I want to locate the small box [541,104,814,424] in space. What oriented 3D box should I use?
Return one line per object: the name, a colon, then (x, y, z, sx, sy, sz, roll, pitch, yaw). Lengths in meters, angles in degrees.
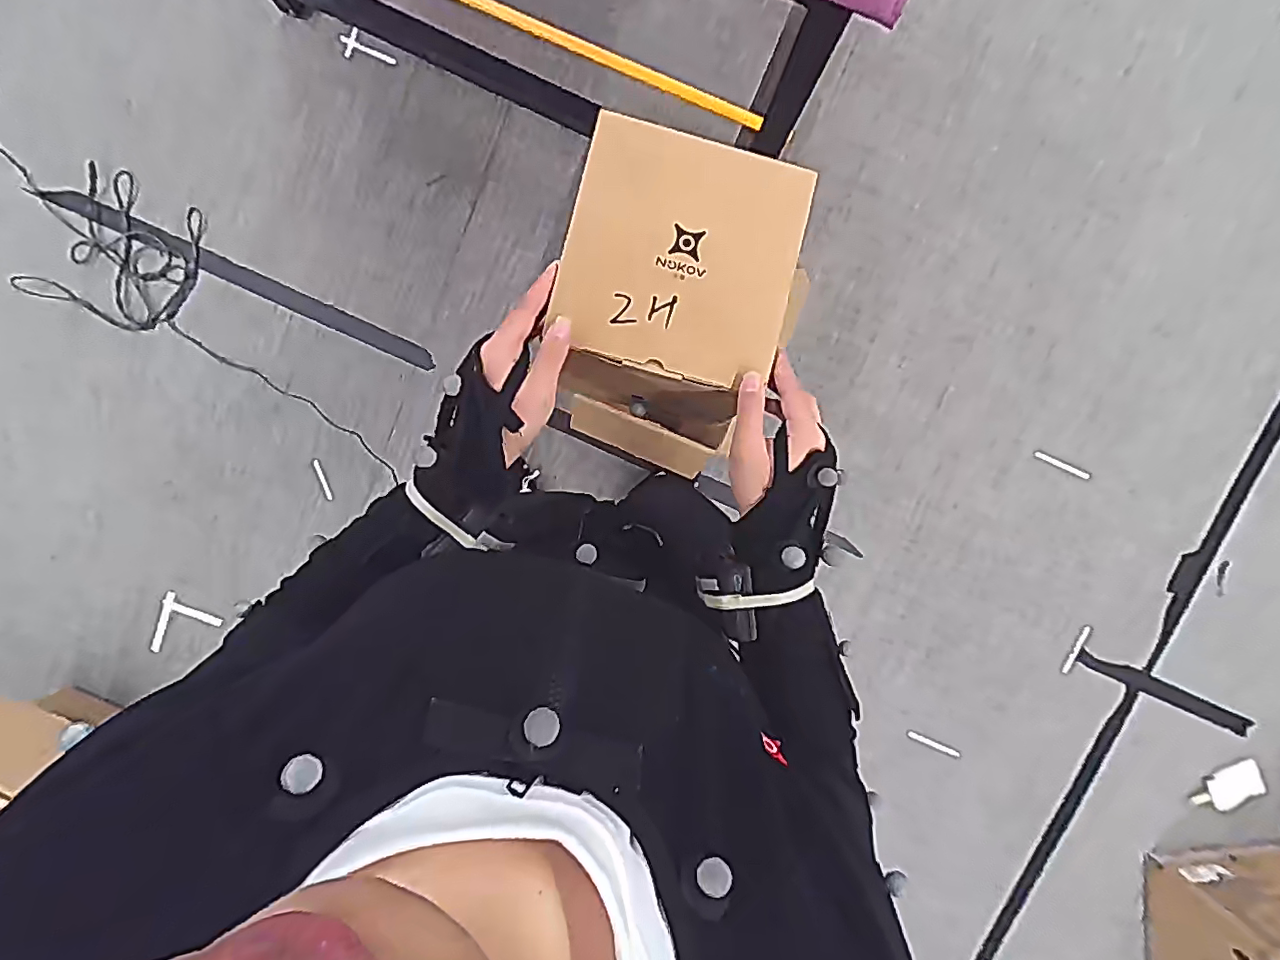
small box: (0.023, -0.161, 0.463, 0.168, 0.176, 0.179, 15, 87, -3)
